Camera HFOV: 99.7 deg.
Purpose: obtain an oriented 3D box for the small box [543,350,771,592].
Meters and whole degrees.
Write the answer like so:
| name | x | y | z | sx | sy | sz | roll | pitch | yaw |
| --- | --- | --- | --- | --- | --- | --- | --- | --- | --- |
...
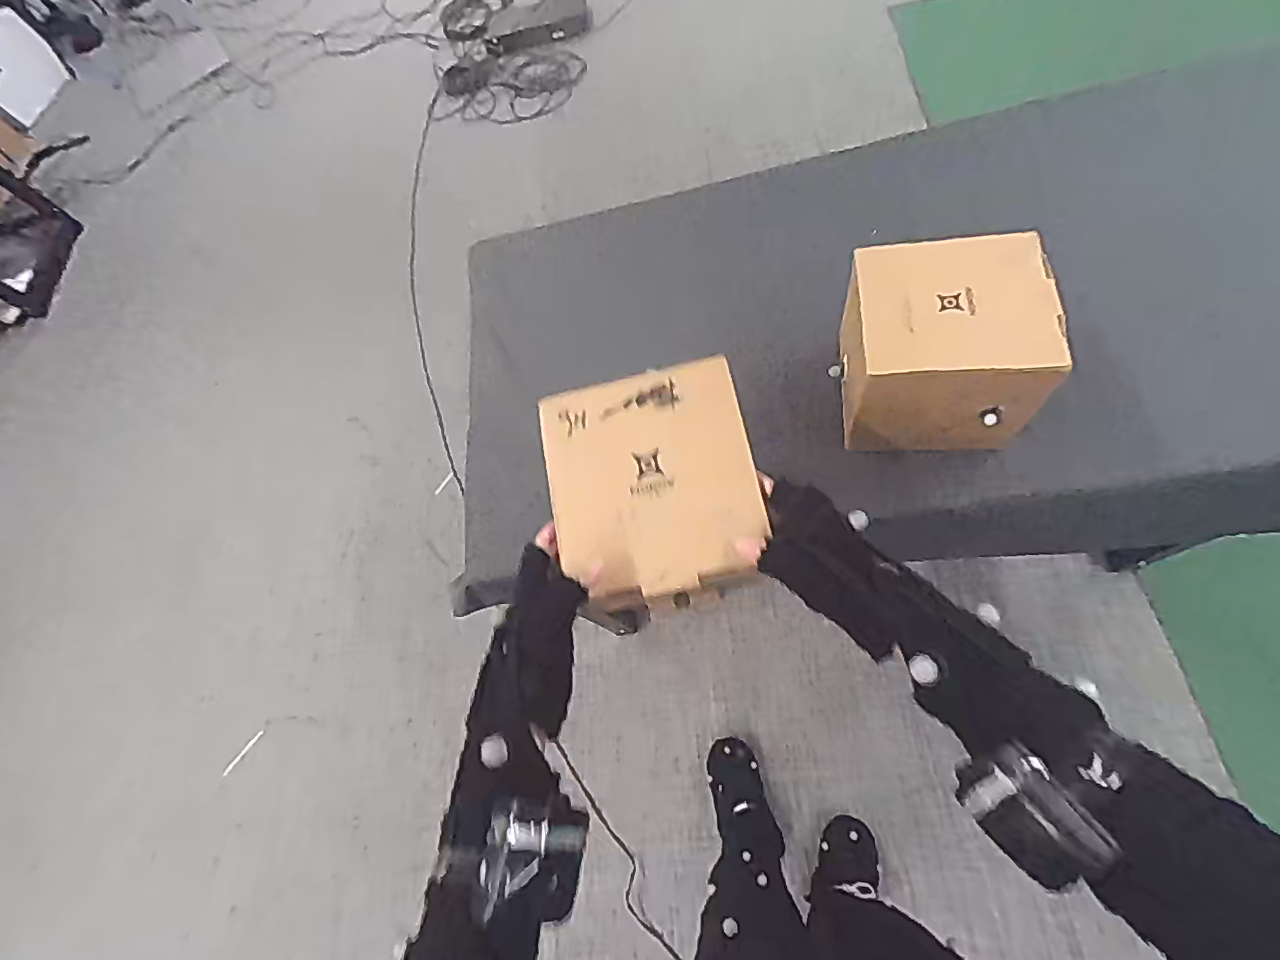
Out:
| name | x | y | z | sx | sy | sz | roll | pitch | yaw |
| --- | --- | --- | --- | --- | --- | --- | --- | --- | --- |
| small box | 0.021 | 0.008 | 0.515 | 0.168 | 0.176 | 0.179 | -12 | 74 | 6 |

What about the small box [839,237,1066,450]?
| name | x | y | z | sx | sy | sz | roll | pitch | yaw |
| --- | --- | --- | --- | --- | --- | --- | --- | --- | --- |
| small box | 0.329 | -0.142 | 0.612 | 0.179 | 0.176 | 0.168 | 0 | 67 | 14 |
